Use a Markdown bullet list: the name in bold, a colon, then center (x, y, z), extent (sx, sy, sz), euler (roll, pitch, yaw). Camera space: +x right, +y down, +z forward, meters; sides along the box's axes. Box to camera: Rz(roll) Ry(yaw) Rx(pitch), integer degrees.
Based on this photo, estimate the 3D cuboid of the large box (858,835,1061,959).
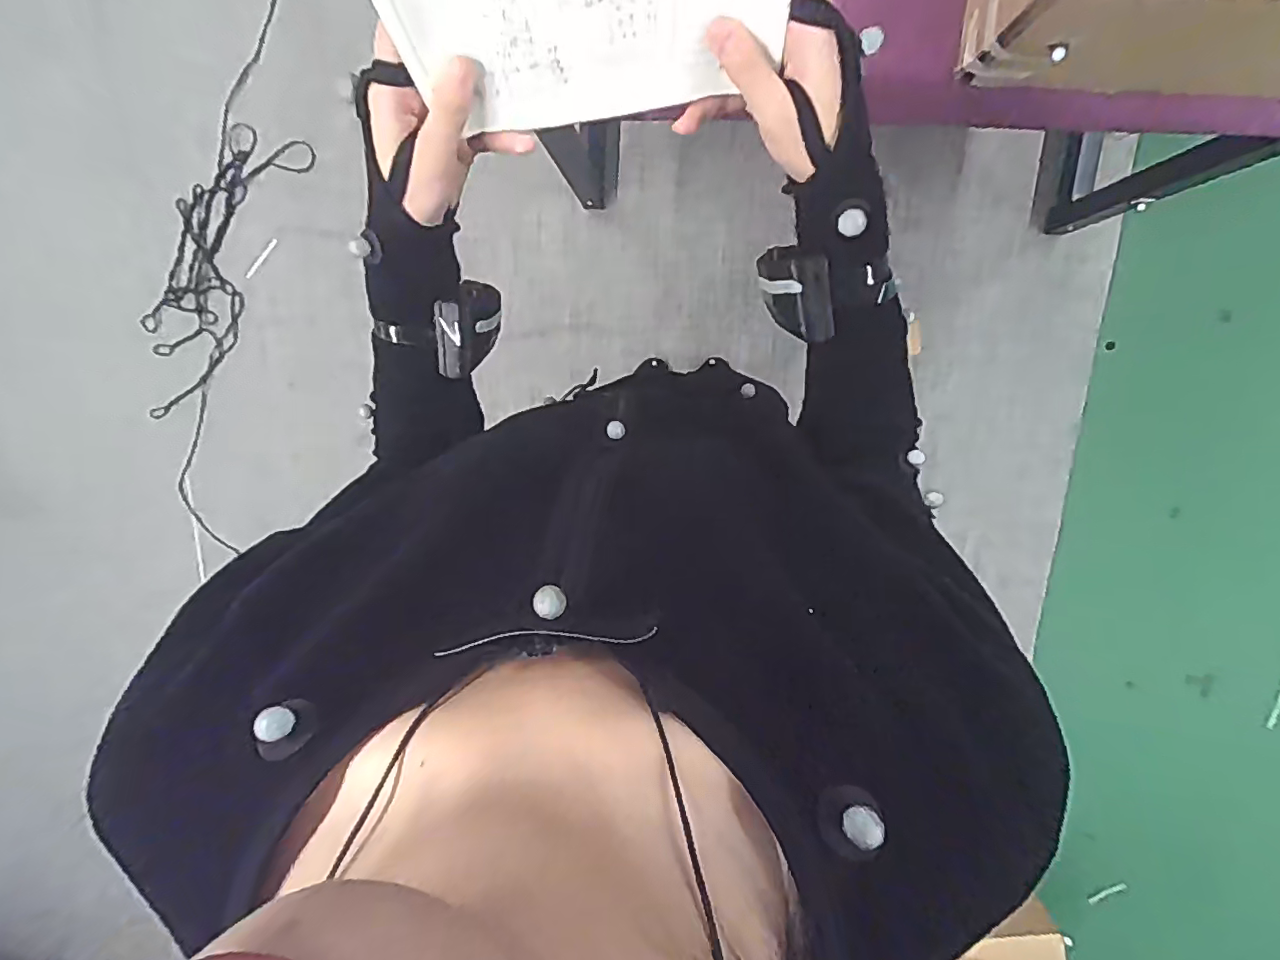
- **large box**: center (0.890, 1.284, 1.540), extent (0.408, 0.320, 0.320), euler (-11, 101, 6)
